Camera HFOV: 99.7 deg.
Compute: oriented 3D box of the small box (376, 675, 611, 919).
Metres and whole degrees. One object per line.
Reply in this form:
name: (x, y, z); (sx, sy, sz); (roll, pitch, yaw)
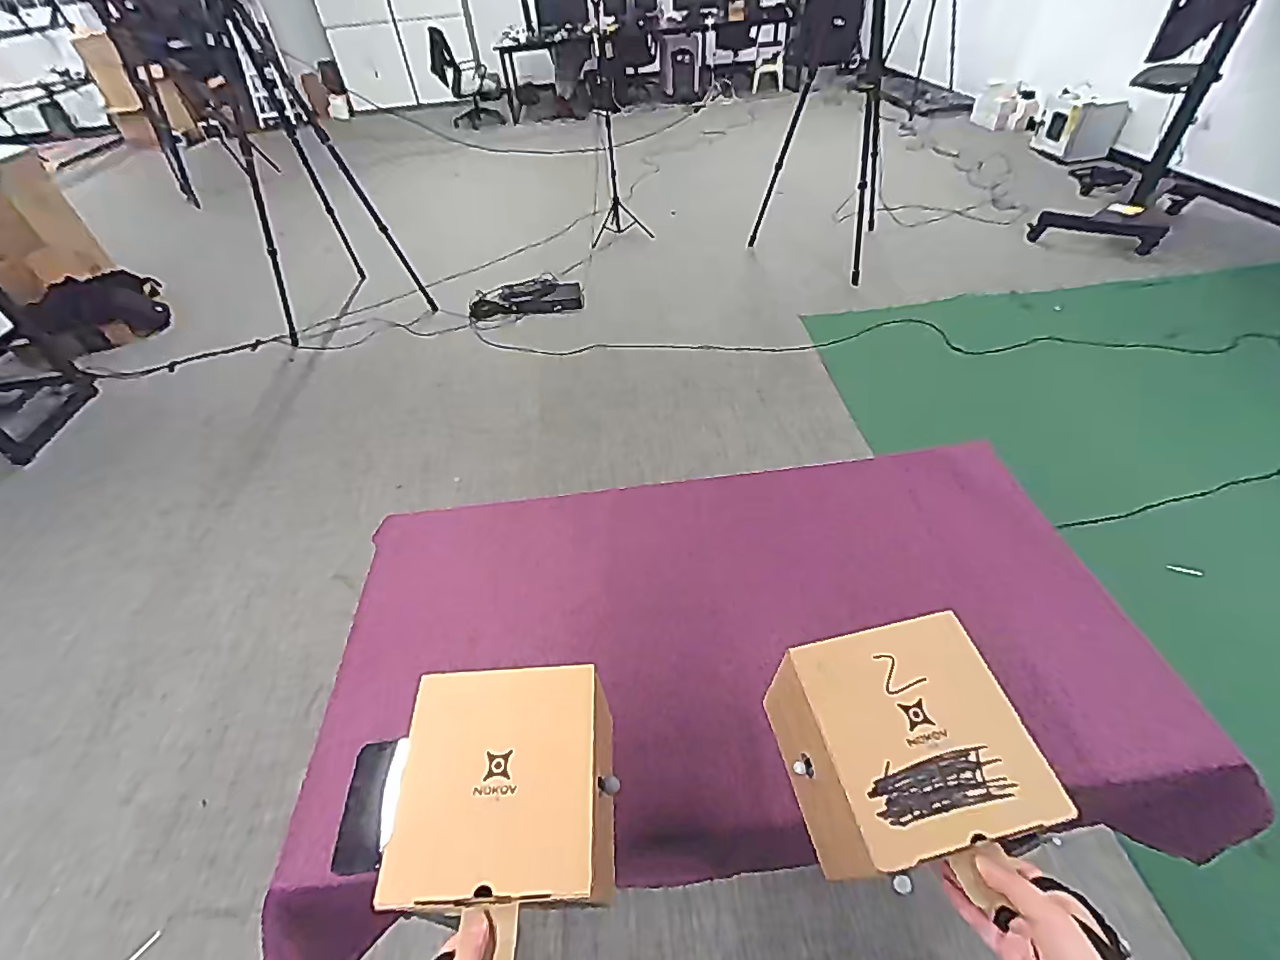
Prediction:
small box: (-0.118, 0.306, 0.519); (0.168, 0.176, 0.179); (-4, 51, 1)
